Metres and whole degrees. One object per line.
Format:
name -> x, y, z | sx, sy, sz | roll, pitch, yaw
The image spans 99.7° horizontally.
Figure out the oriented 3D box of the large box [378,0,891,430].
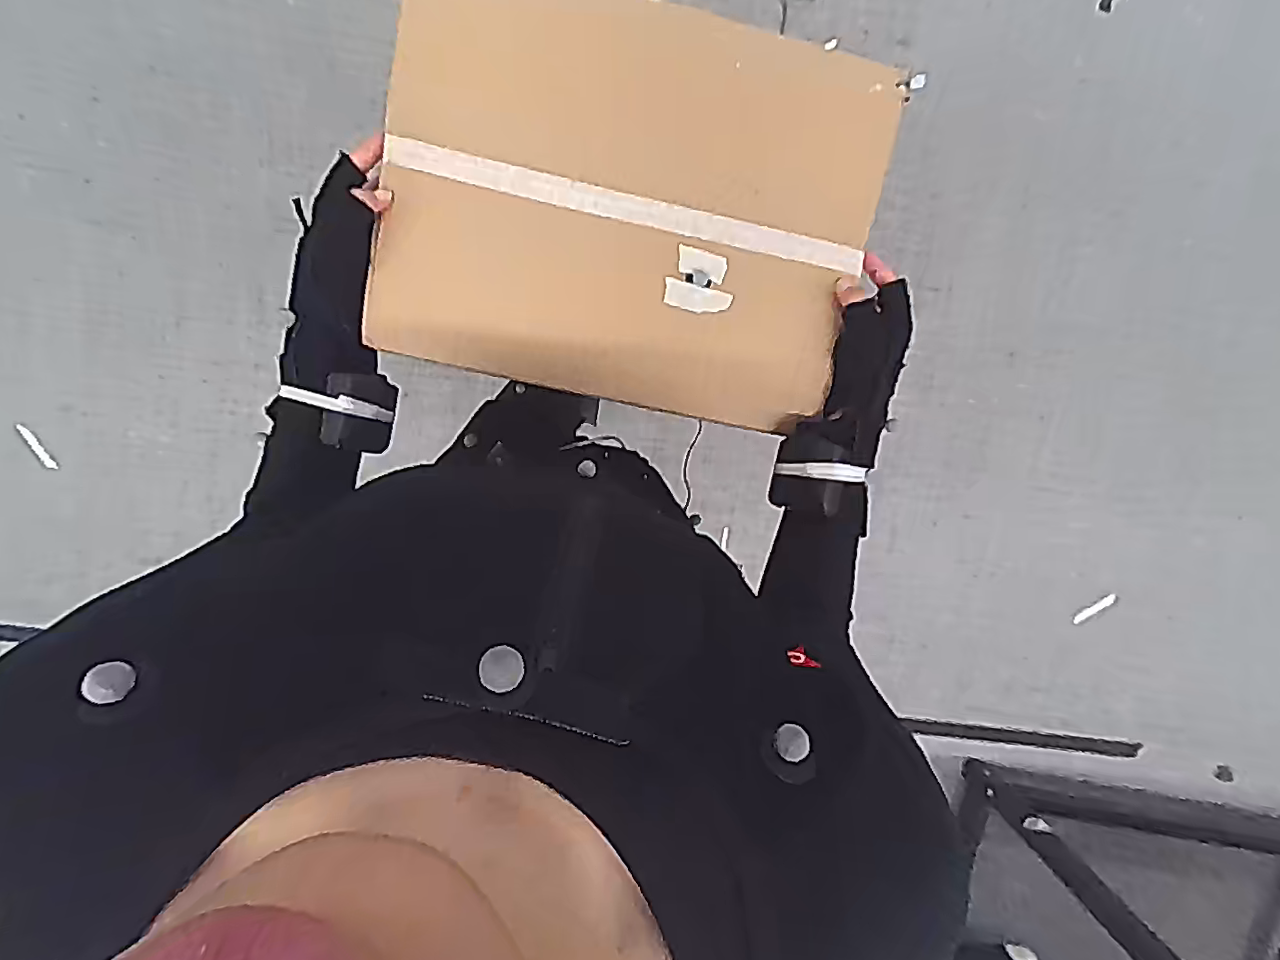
large box -> -0.019, -0.252, 0.610 | 0.408, 0.320, 0.320 | 11, 100, -6
